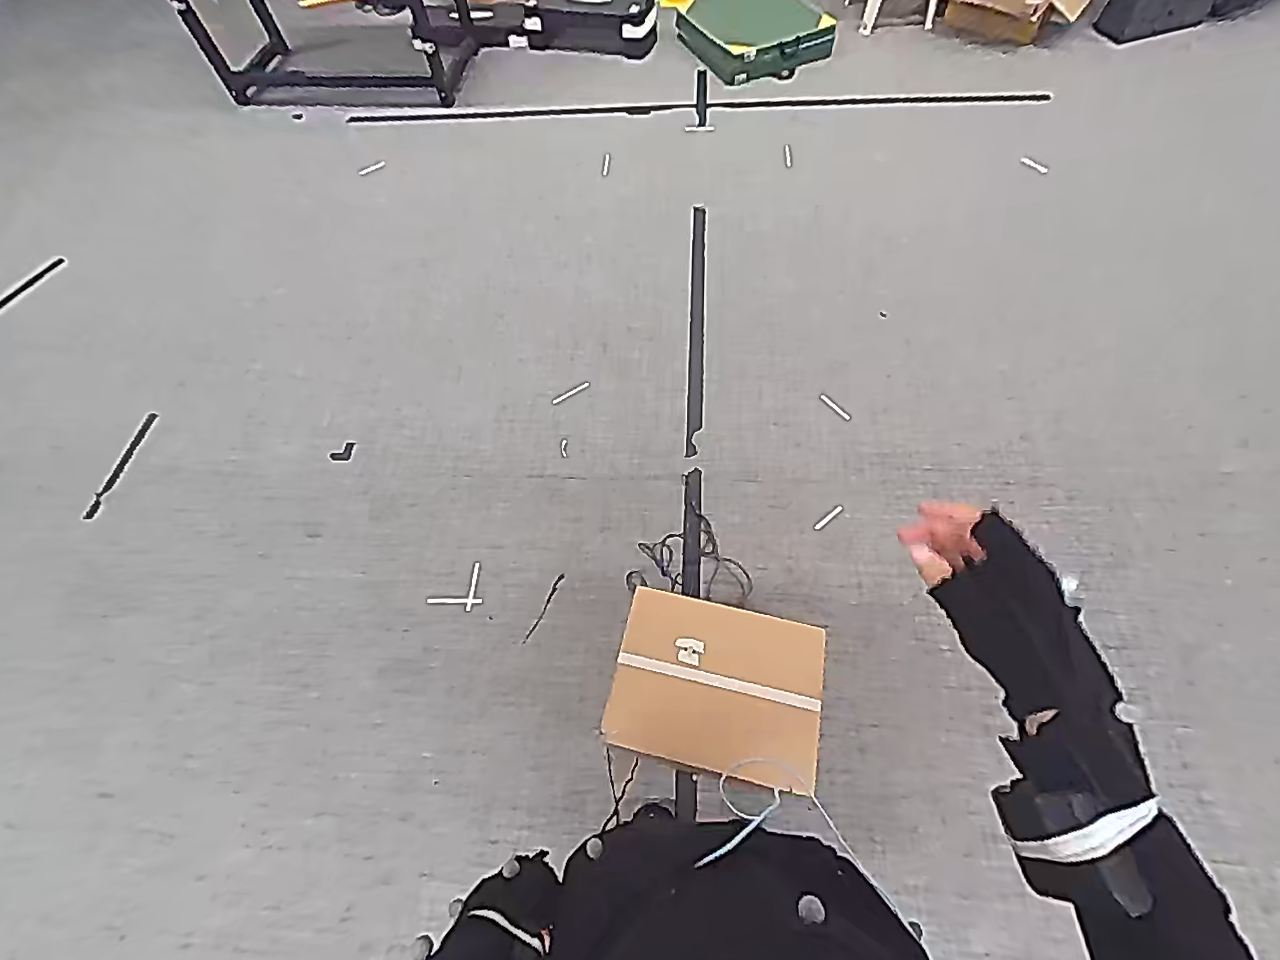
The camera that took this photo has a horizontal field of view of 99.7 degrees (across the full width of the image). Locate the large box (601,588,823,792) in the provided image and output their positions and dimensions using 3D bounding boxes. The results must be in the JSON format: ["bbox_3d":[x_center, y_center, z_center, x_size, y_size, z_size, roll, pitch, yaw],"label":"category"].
[{"bbox_3d":[0.158,0.471,1.201,0.408,0.320,0.320,12,61,8],"label":"large box"}]
